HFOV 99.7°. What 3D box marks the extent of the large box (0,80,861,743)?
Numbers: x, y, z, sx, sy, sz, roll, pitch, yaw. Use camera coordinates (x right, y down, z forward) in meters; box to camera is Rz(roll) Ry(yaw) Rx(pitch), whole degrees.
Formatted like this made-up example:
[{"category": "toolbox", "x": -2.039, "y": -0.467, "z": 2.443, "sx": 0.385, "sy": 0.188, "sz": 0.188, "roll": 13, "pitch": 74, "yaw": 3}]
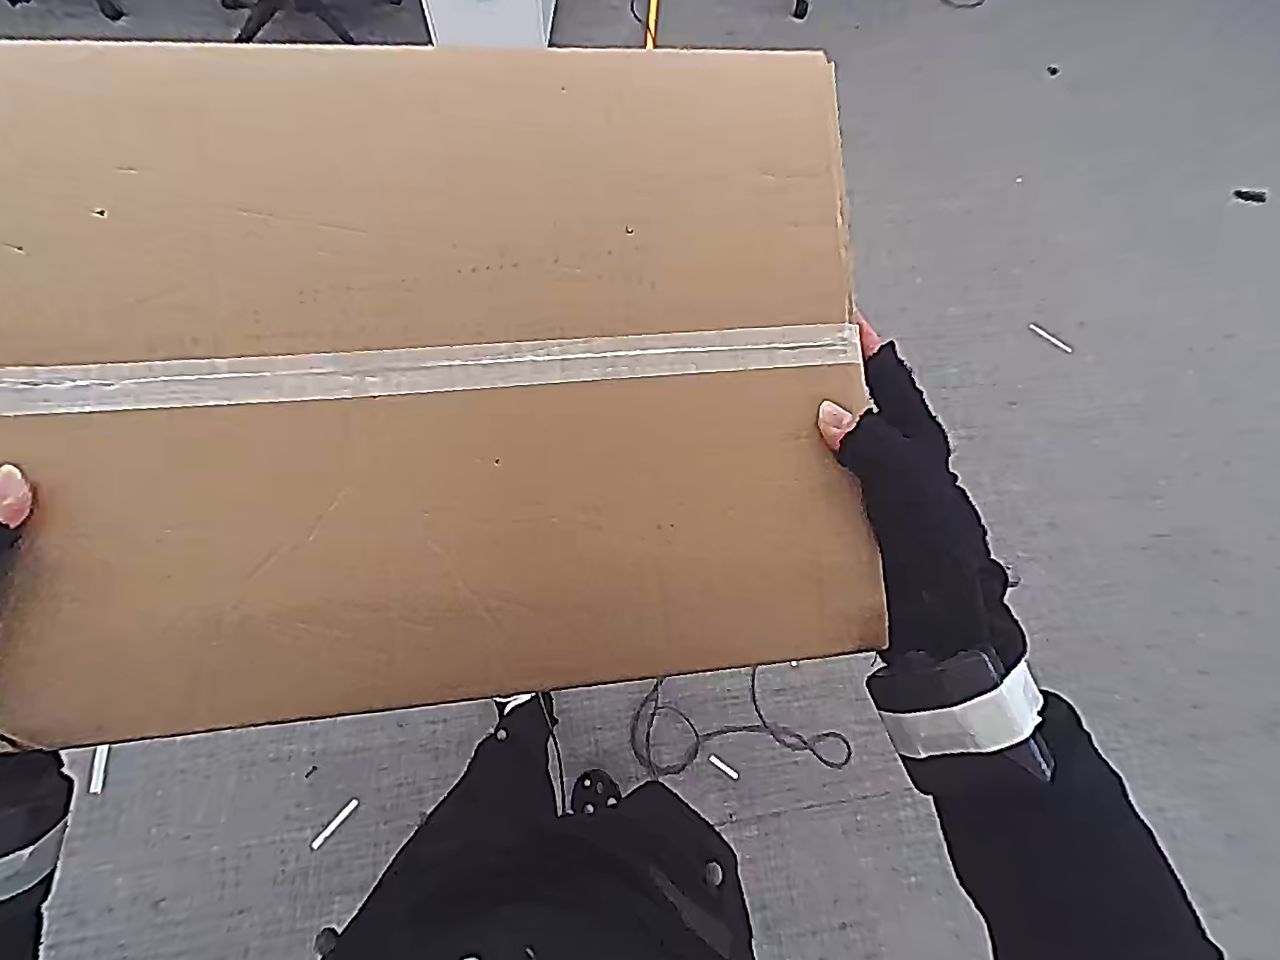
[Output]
[{"category": "large box", "x": -0.104, "y": -0.045, "z": 0.418, "sx": 0.408, "sy": 0.320, "sz": 0.320, "roll": -4, "pitch": 88, "yaw": -7}]
